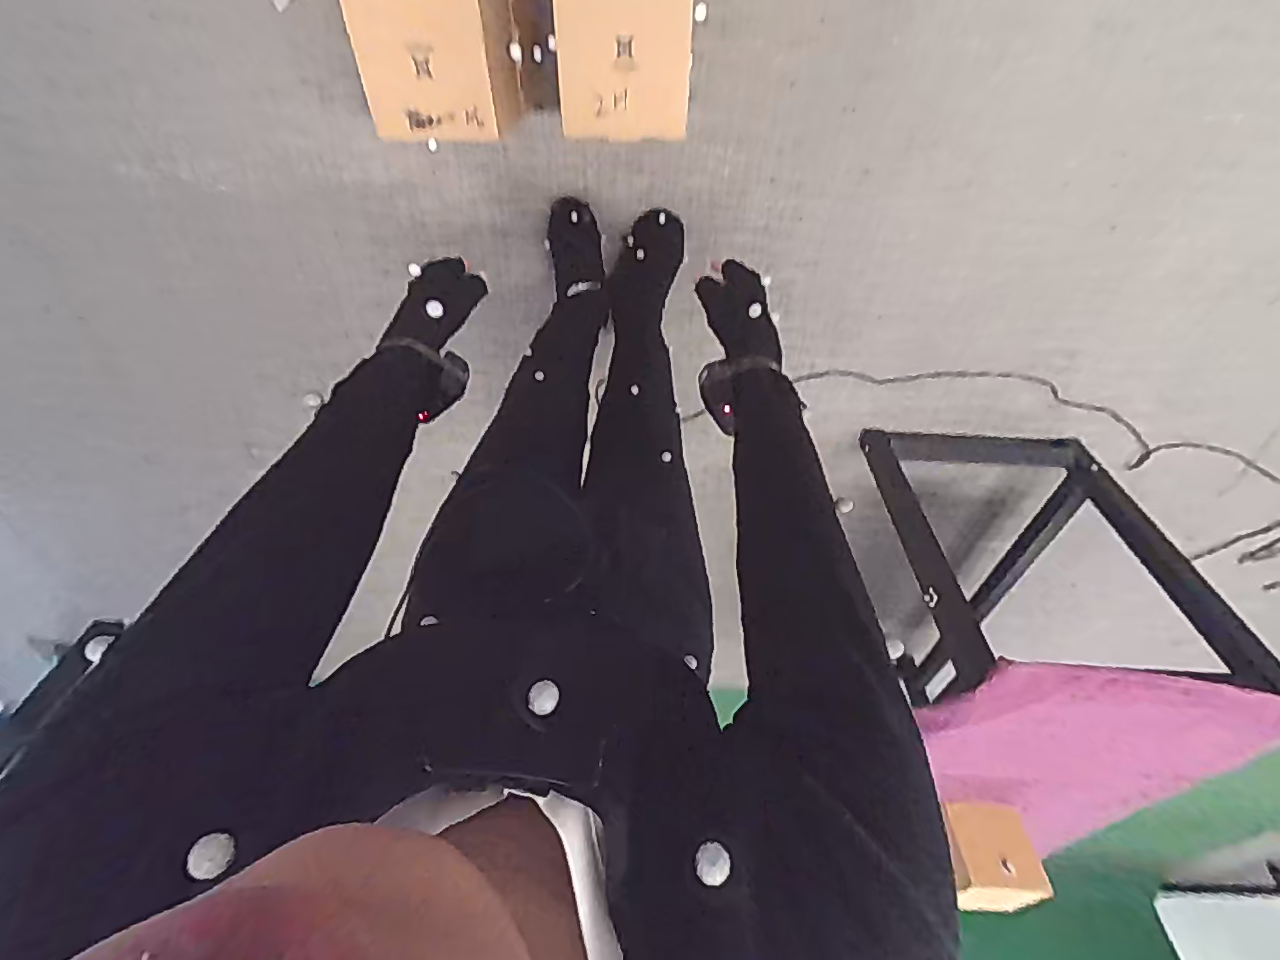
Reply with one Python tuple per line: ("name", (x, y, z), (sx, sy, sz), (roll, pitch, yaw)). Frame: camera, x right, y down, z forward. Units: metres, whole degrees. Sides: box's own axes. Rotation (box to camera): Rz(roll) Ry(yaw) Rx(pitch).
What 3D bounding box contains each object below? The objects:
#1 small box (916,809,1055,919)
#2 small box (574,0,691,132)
("small box", (0.761, 0.860, 1.214), (0.179, 0.176, 0.168), (6, 131, -3))
("small box", (-0.008, -0.670, 0.858), (0.168, 0.176, 0.179), (1, 131, 1))
